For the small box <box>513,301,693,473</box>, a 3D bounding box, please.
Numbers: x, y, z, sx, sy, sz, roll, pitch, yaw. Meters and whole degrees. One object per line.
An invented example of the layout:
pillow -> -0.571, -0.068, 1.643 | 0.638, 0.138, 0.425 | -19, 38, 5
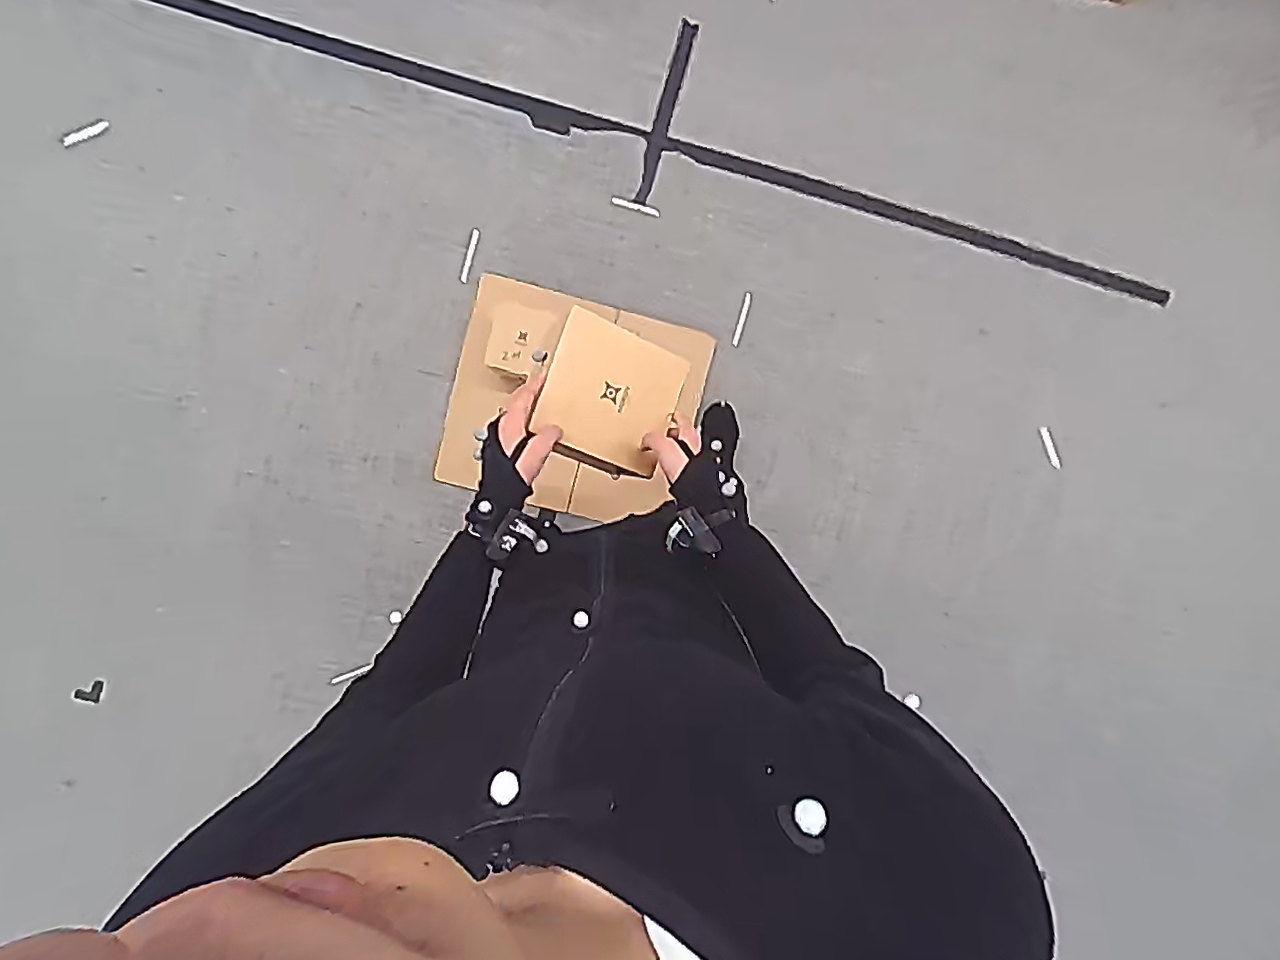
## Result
small box -> -0.060, -0.116, 0.747 | 0.179, 0.176, 0.168 | 21, 86, -23

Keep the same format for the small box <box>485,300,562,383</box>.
small box -> -0.300, -0.359, 1.463 | 0.168, 0.176, 0.179 | 15, 93, -2
